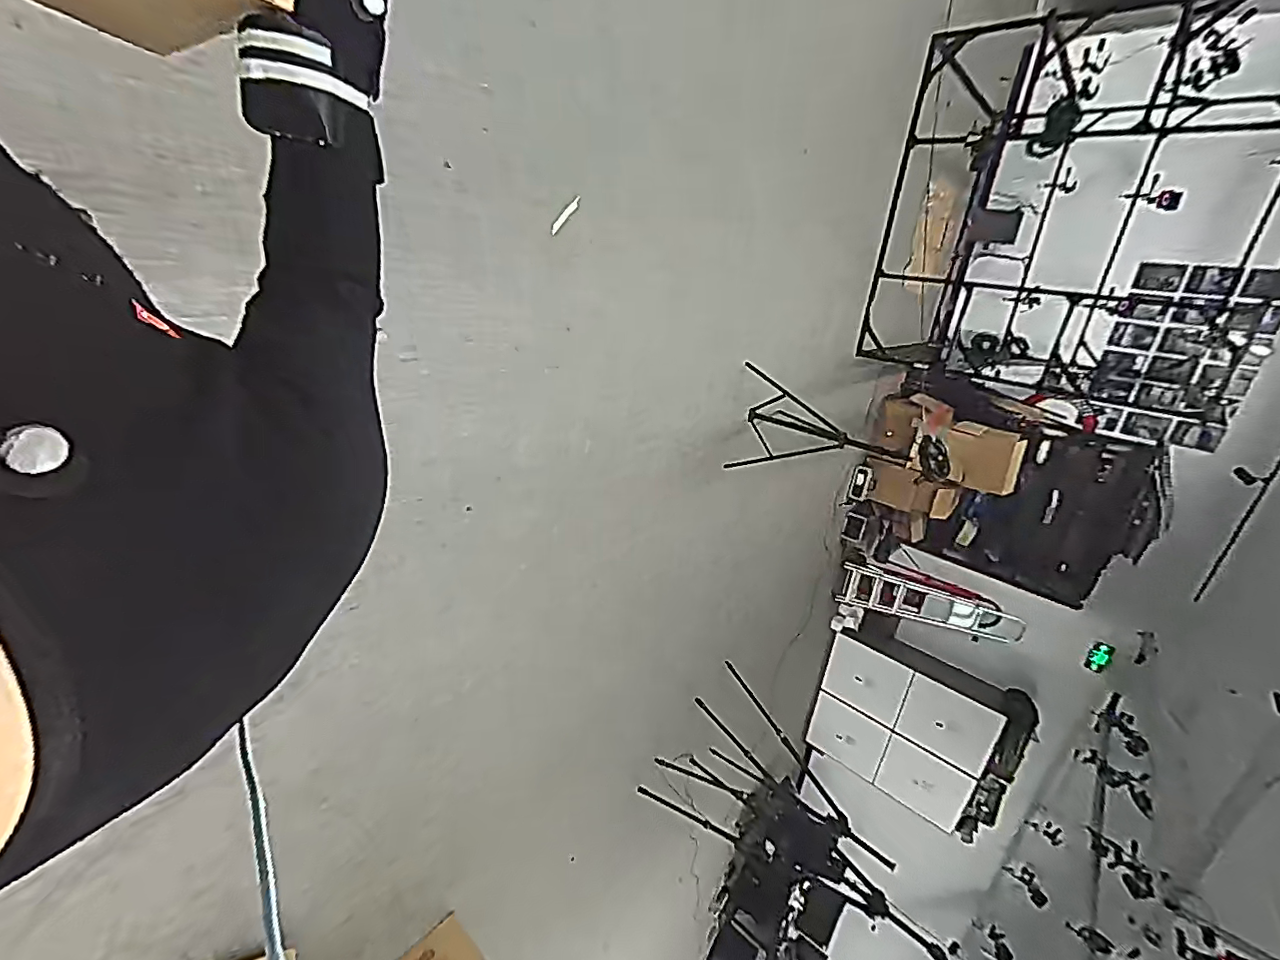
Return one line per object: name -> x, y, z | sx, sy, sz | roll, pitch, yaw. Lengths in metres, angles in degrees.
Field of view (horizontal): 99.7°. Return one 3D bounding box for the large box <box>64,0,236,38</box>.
large box -> -0.427, -0.492, 0.233 | 0.408, 0.320, 0.320 | -6, 115, -52
